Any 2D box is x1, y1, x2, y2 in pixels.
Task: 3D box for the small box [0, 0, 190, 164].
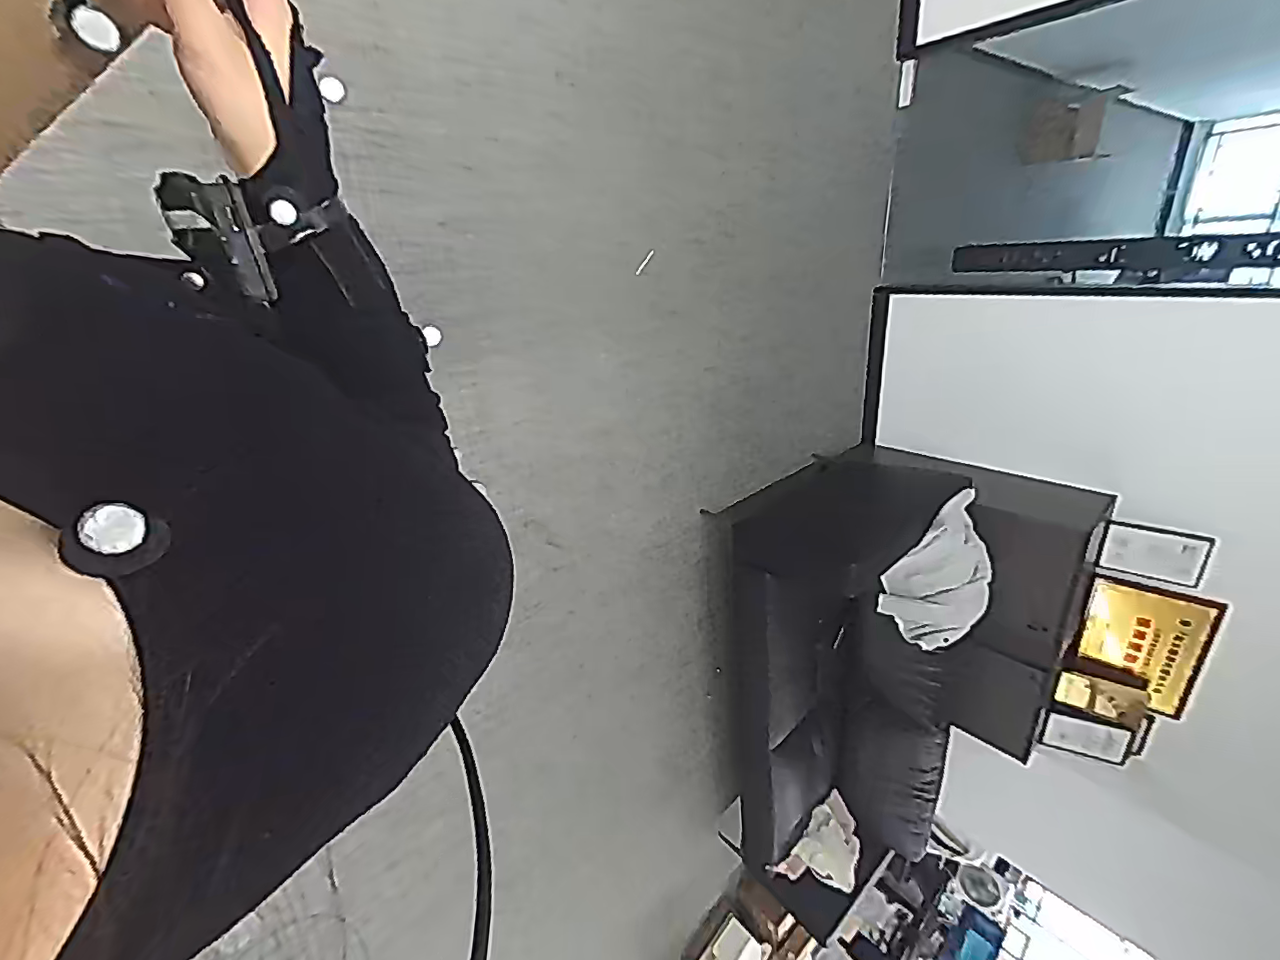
[{"bbox_3d":[-0.289,-0.237,0.178,0.179,0.176,0.168,41,72,-38],"label":"small box"}]
